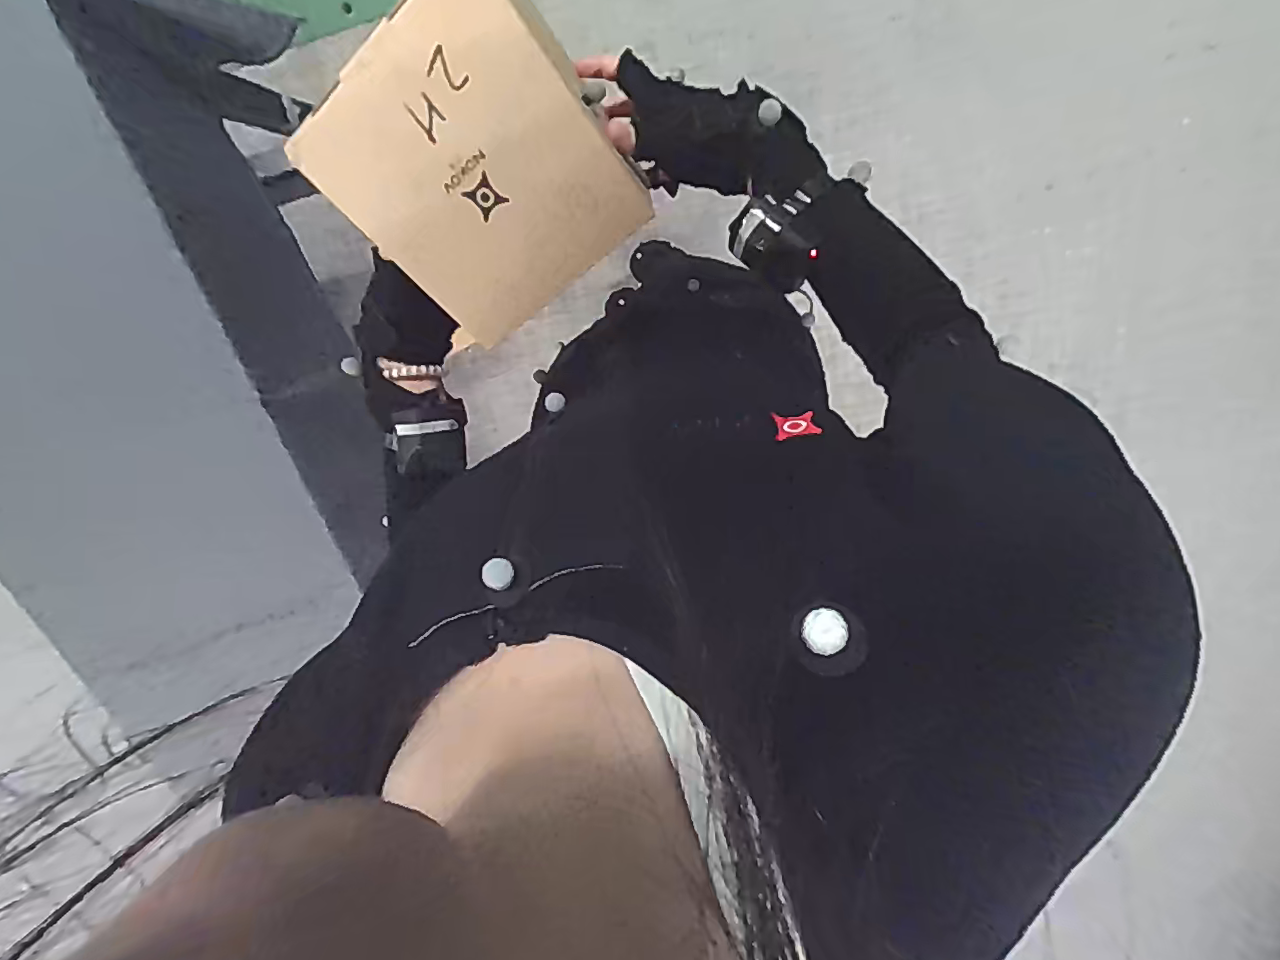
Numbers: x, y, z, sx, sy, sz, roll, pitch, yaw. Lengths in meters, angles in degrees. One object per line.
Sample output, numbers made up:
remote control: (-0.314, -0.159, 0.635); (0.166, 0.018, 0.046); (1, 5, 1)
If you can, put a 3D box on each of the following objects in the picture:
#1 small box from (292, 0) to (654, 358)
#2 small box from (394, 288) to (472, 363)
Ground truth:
small box: (-0.105, -0.235, 0.415); (0.168, 0.176, 0.179); (-30, 125, 19)
small box: (-0.449, -0.409, 1.320); (0.179, 0.176, 0.168); (-23, 111, 14)
